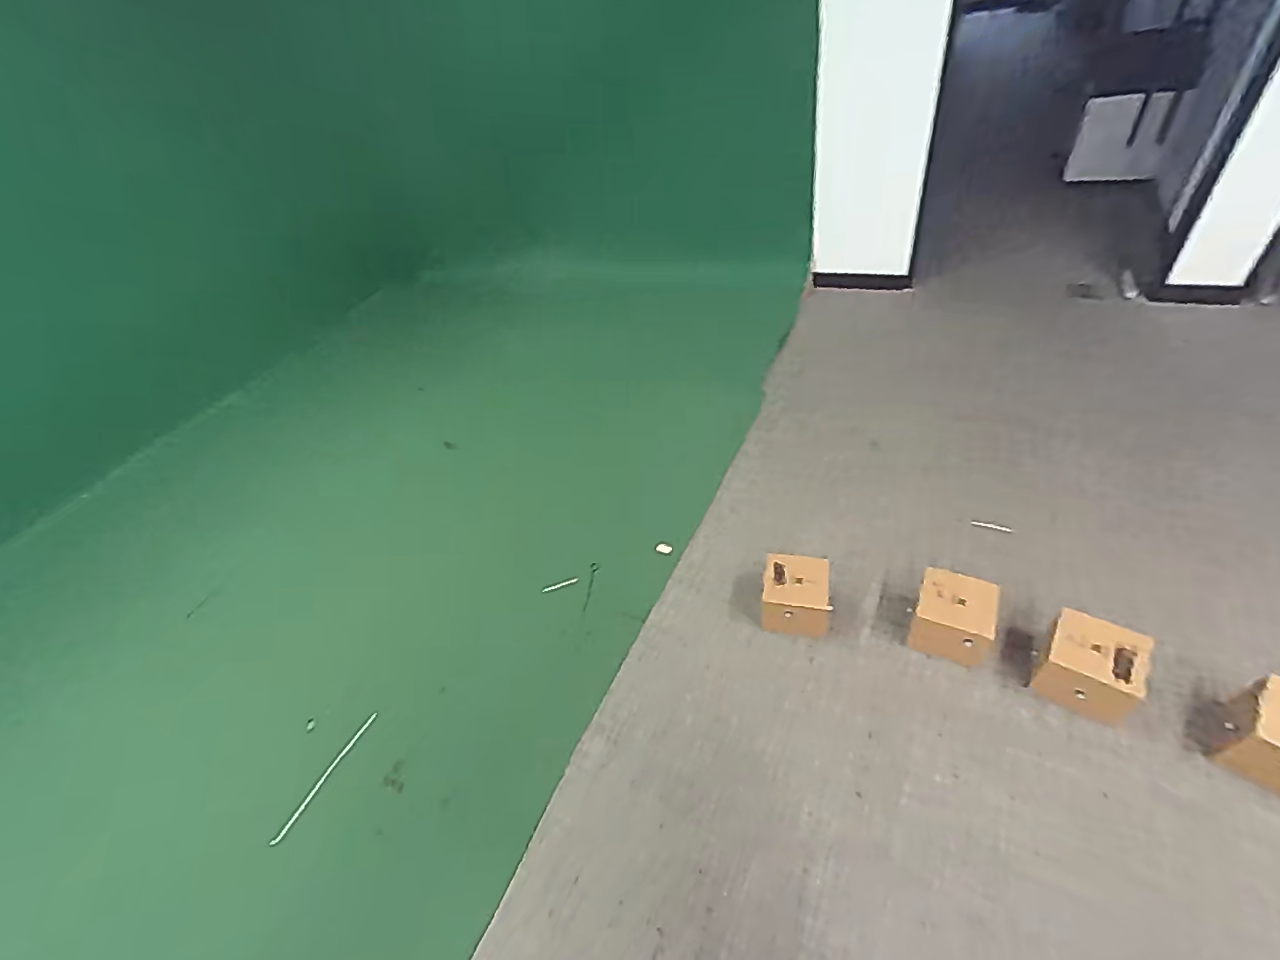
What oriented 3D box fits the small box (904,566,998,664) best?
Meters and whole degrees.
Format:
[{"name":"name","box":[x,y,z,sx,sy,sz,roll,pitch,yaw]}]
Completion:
[{"name":"small box","box":[0.821,0.363,1.437,0.179,0.176,0.168,14,51,27]}]

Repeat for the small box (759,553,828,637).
[{"name":"small box","box":[0.446,0.335,1.567,0.179,0.176,0.168,4,48,18]}]

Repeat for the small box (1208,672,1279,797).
[{"name":"small box","box":[1.347,0.544,1.121,0.179,0.176,0.168,30,60,35]}]
